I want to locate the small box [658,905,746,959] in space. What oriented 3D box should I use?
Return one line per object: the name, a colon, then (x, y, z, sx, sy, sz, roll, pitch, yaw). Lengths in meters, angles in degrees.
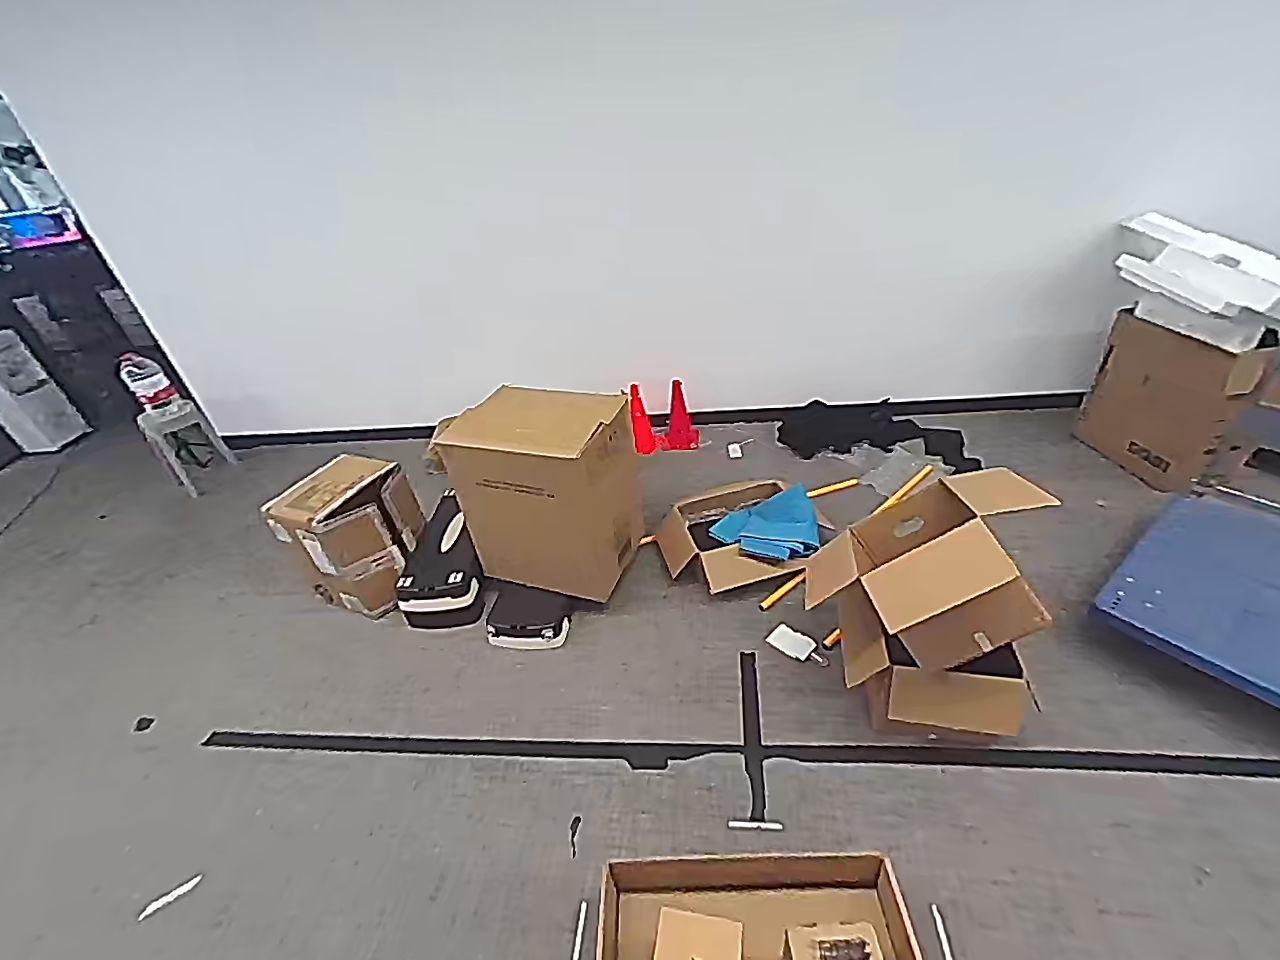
small box: (0.118, 0.978, 1.053, 0.168, 0.176, 0.179, 2, 35, 12)
